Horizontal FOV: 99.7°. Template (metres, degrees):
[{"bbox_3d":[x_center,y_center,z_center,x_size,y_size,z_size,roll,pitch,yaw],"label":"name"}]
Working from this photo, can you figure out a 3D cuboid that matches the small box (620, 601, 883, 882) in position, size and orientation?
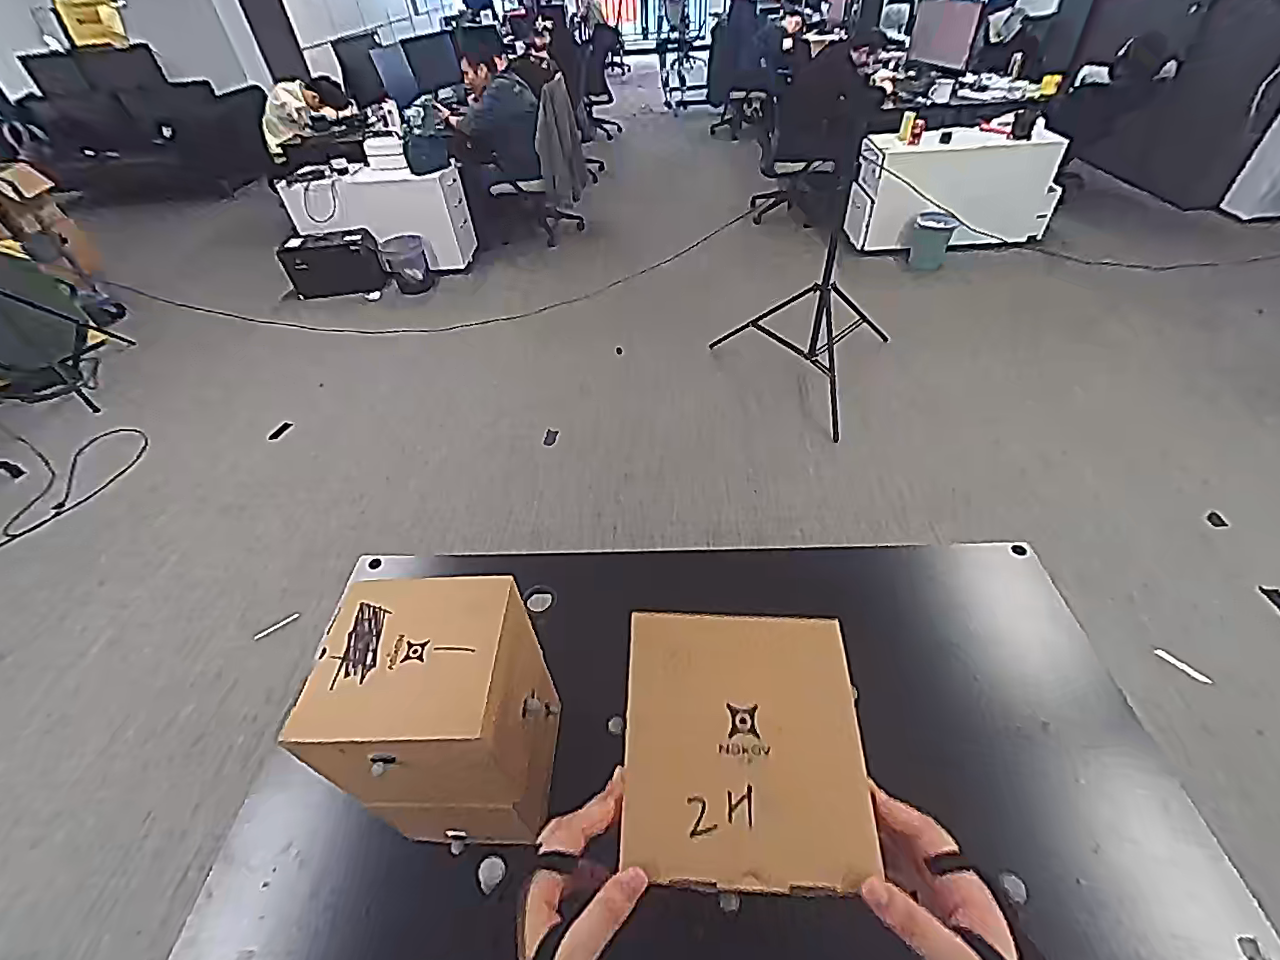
[{"bbox_3d":[0.073,0.218,0.447,0.168,0.176,0.179,2,54,2],"label":"small box"}]

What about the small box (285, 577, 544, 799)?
[{"bbox_3d":[-0.211,0.219,0.565,0.179,0.176,0.168,-2,44,2],"label":"small box"}]

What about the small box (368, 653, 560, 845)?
[{"bbox_3d":[-0.201,0.335,0.680,0.168,0.176,0.179,-2,45,4],"label":"small box"}]
